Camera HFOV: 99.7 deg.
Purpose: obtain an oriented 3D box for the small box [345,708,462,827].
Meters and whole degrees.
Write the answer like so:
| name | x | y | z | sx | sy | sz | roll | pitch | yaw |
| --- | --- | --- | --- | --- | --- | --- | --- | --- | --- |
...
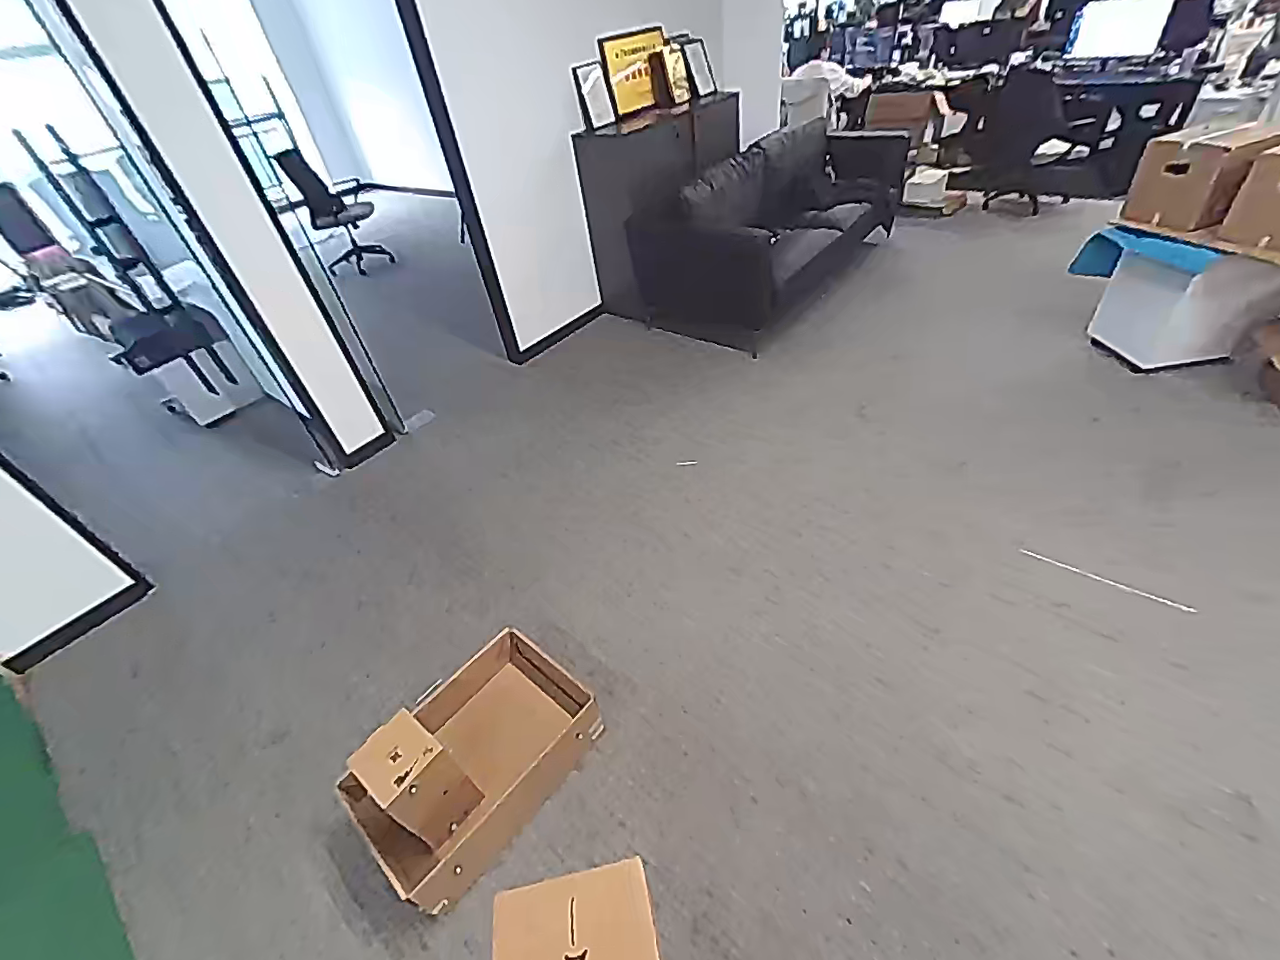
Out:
| name | x | y | z | sx | sy | sz | roll | pitch | yaw |
| --- | --- | --- | --- | --- | --- | --- | --- | --- | --- |
| small box | -0.572 | 0.705 | 1.321 | 0.179 | 0.176 | 0.168 | 23 | 51 | 32 |

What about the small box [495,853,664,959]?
| name | x | y | z | sx | sy | sz | roll | pitch | yaw |
| --- | --- | --- | --- | --- | --- | --- | --- | --- | --- |
| small box | -0.054 | 0.542 | 0.575 | 0.168 | 0.176 | 0.179 | -10 | 38 | -6 |
